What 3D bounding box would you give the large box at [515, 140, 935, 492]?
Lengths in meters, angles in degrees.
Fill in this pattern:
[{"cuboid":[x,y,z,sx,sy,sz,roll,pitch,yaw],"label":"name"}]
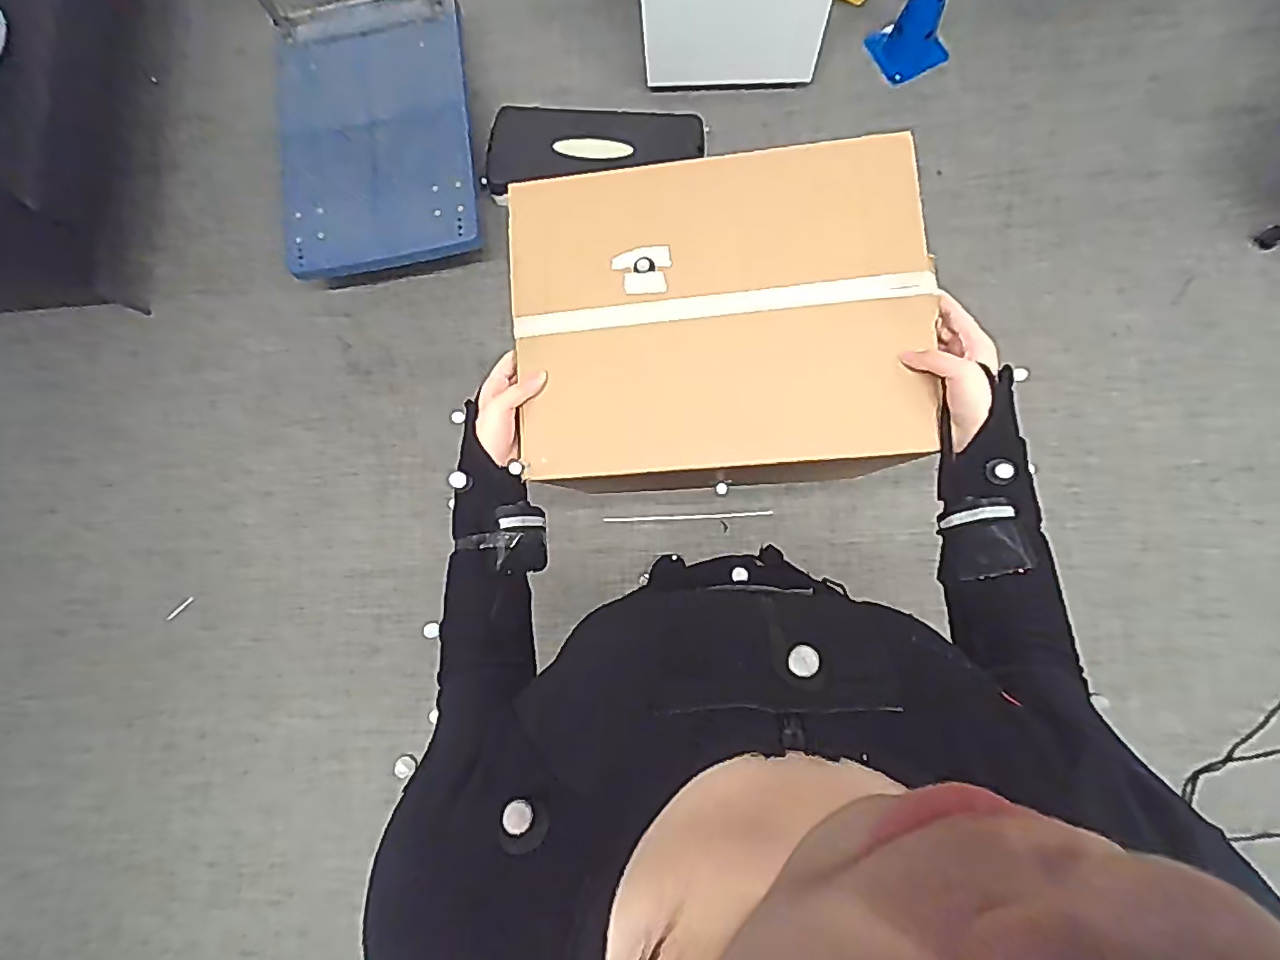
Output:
[{"cuboid":[0.094,-0.157,0.691,0.408,0.320,0.320,-5,85,8],"label":"large box"}]
